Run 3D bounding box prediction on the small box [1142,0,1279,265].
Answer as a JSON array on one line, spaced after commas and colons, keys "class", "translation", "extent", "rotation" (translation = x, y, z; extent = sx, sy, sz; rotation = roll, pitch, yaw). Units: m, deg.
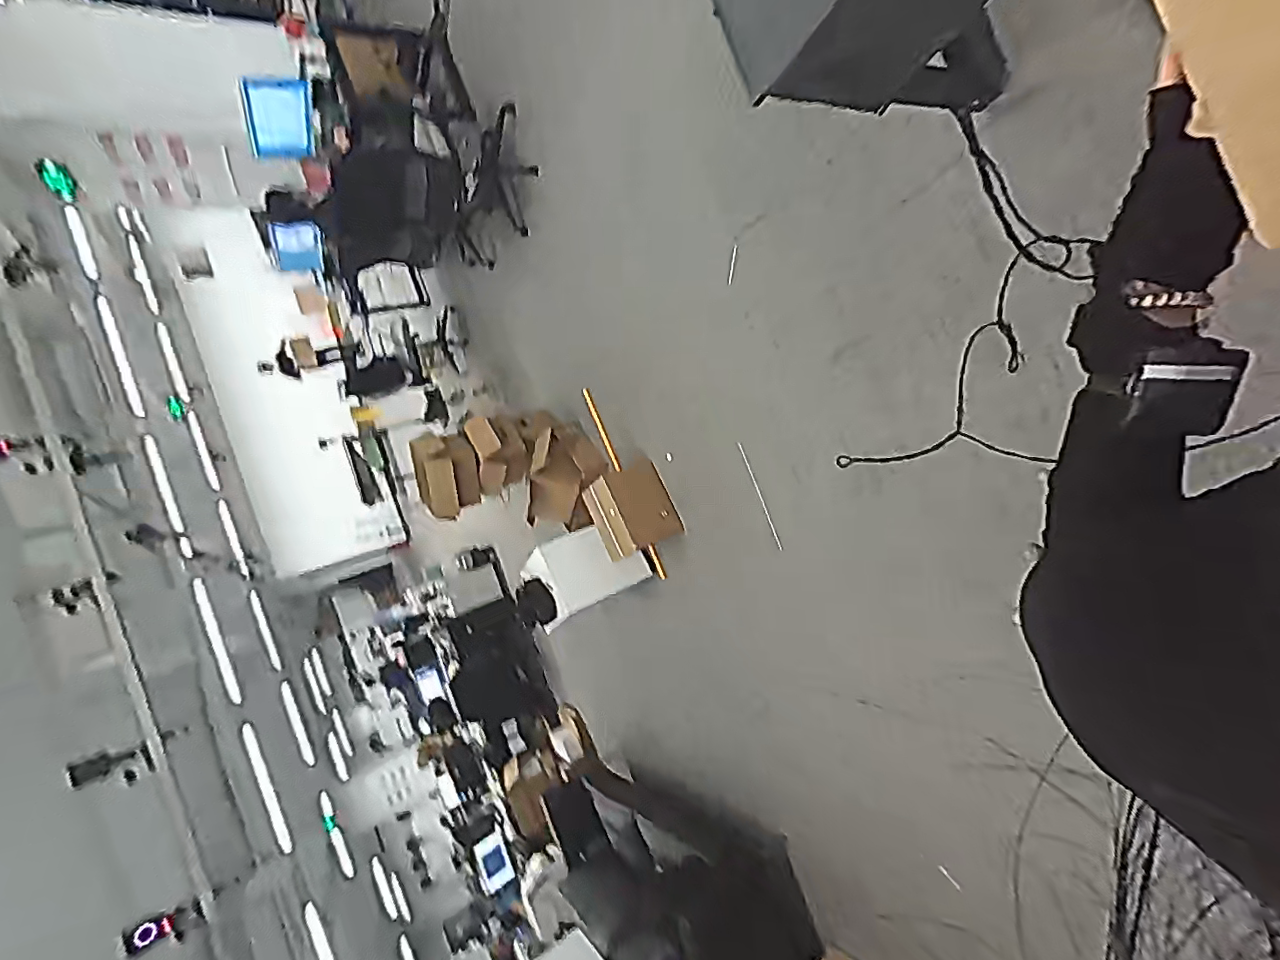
[{"class": "small box", "translation": [0.390, -0.244, 0.263], "extent": [0.168, 0.176, 0.179], "rotation": [-20, 104, 56]}]
